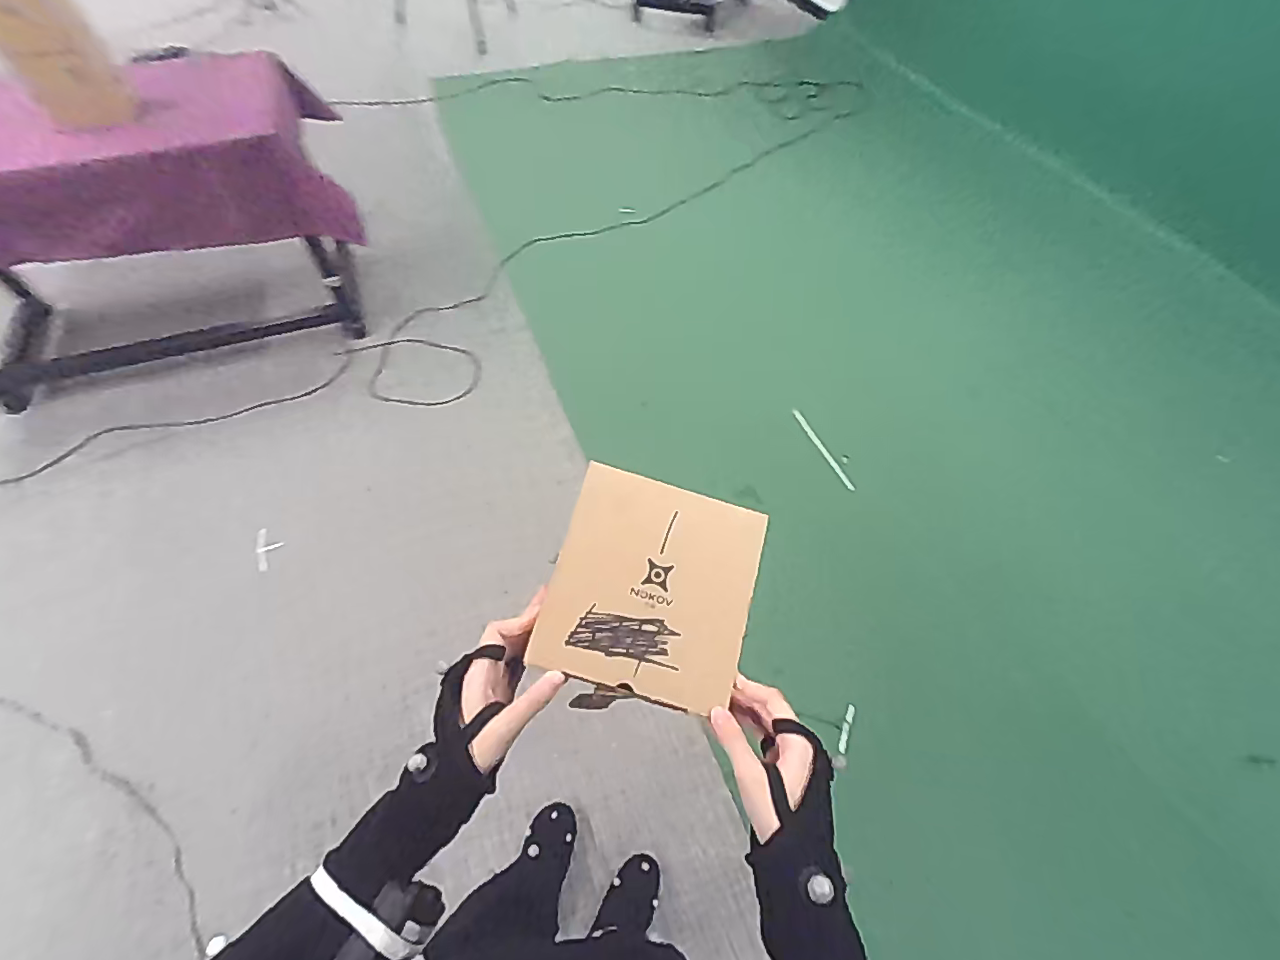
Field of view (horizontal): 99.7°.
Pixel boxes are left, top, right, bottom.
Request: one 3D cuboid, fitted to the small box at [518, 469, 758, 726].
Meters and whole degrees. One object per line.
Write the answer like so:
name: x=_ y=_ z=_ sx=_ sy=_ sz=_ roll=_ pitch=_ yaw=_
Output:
small box: x=-0.004 y=0.115 z=0.521 sx=0.168 sy=0.176 sz=0.179 roll=16 pitch=70 yaw=-2
